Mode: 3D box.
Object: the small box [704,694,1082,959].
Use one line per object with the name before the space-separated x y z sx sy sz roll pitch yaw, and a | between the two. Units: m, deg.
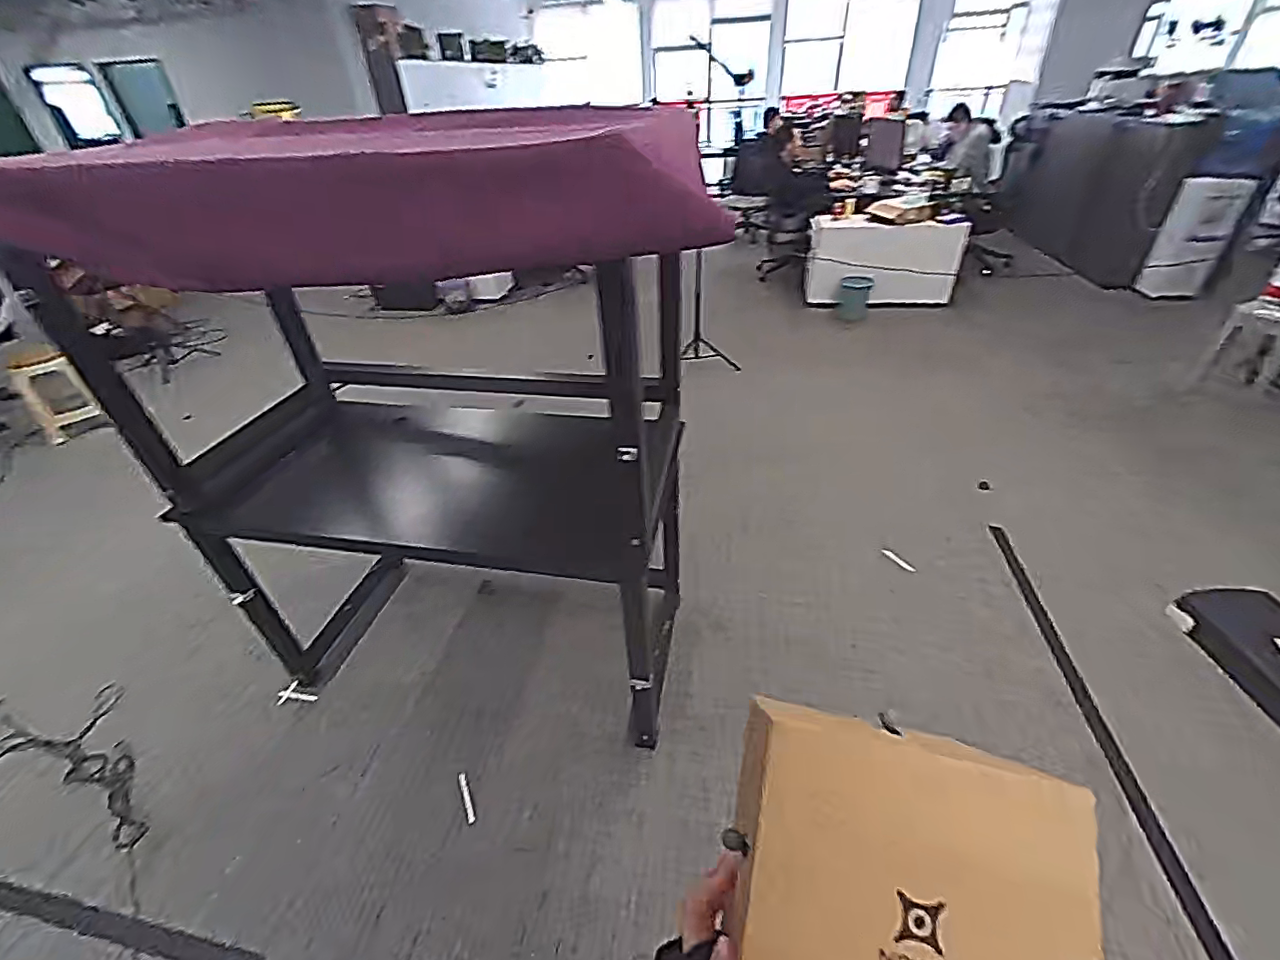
small box | 0.133 0.243 0.340 0.168 0.176 0.179 9 74 10
